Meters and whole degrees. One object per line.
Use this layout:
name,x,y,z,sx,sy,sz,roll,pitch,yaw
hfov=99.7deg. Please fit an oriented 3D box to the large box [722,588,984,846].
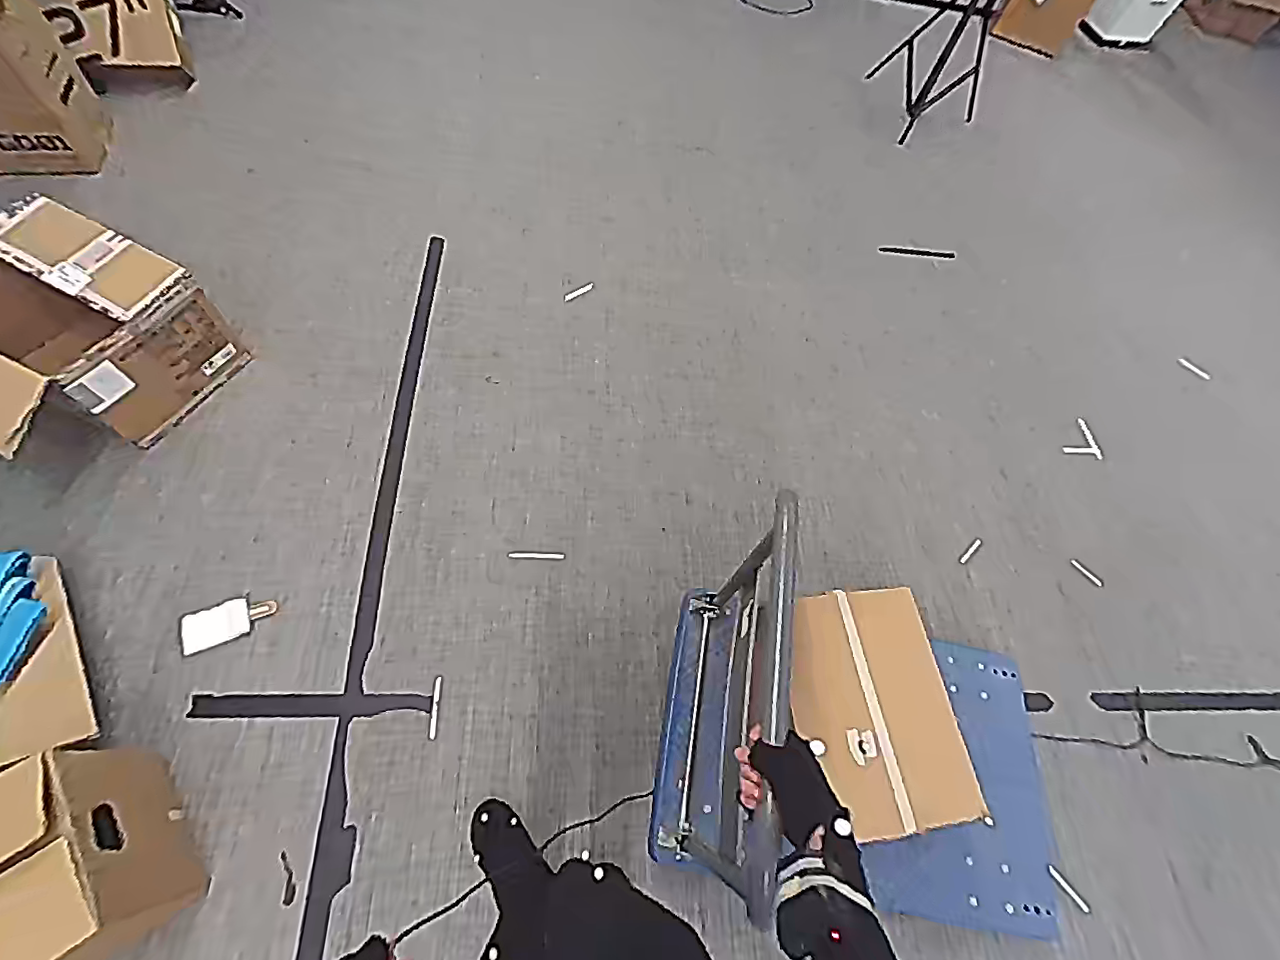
large box,0.392,0.469,1.113,0.320,0.320,0.408,-3,64,-10
